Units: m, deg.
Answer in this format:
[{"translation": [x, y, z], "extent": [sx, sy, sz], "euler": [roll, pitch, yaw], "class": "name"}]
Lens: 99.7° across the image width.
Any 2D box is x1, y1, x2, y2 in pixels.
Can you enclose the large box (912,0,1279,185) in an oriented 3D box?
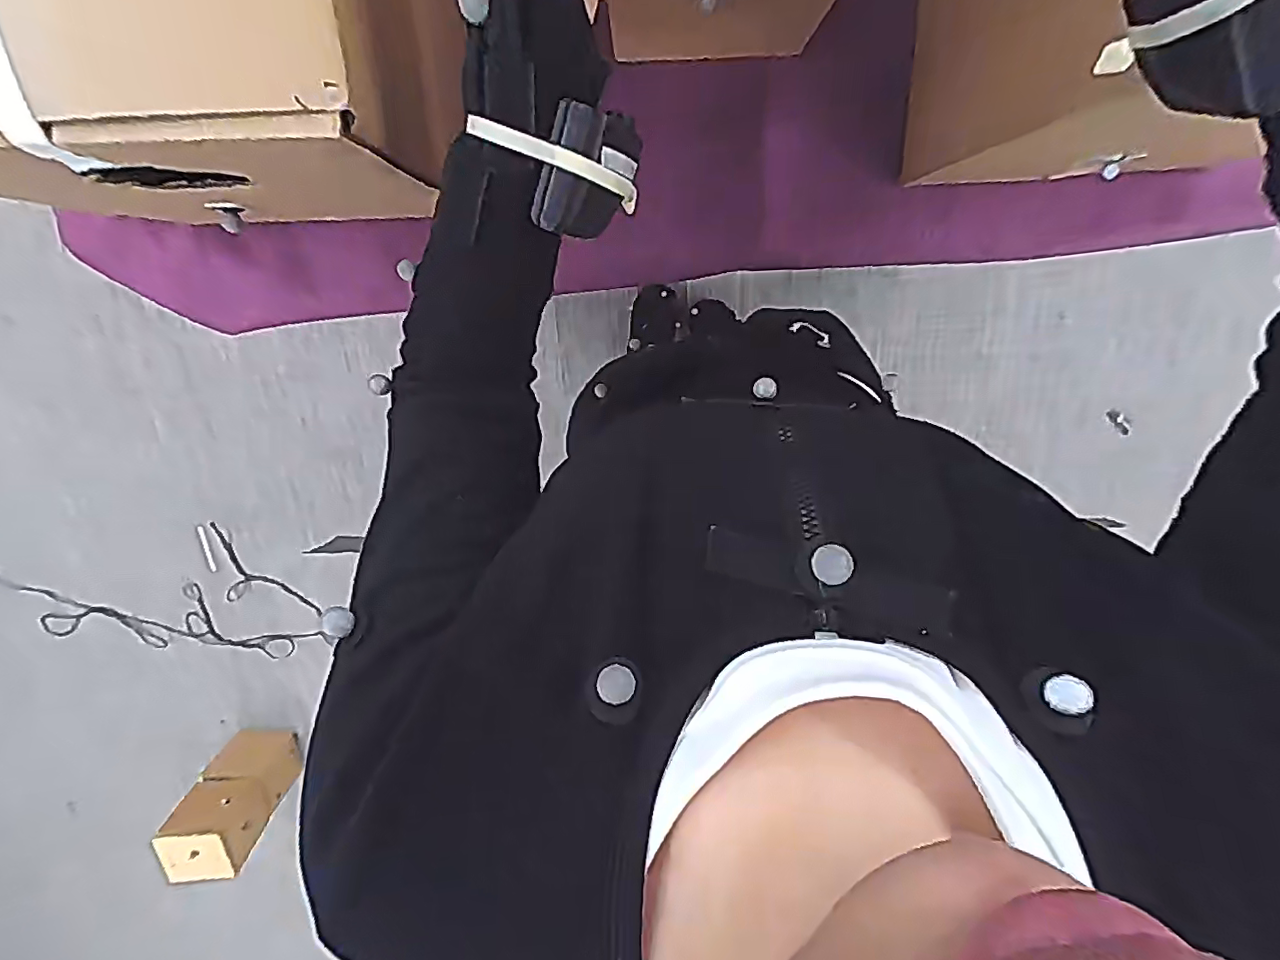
[{"translation": [0.396, -0.441, 0.324], "extent": [0.320, 0.320, 0.408], "euler": [-4, 108, 1], "class": "large box"}]
